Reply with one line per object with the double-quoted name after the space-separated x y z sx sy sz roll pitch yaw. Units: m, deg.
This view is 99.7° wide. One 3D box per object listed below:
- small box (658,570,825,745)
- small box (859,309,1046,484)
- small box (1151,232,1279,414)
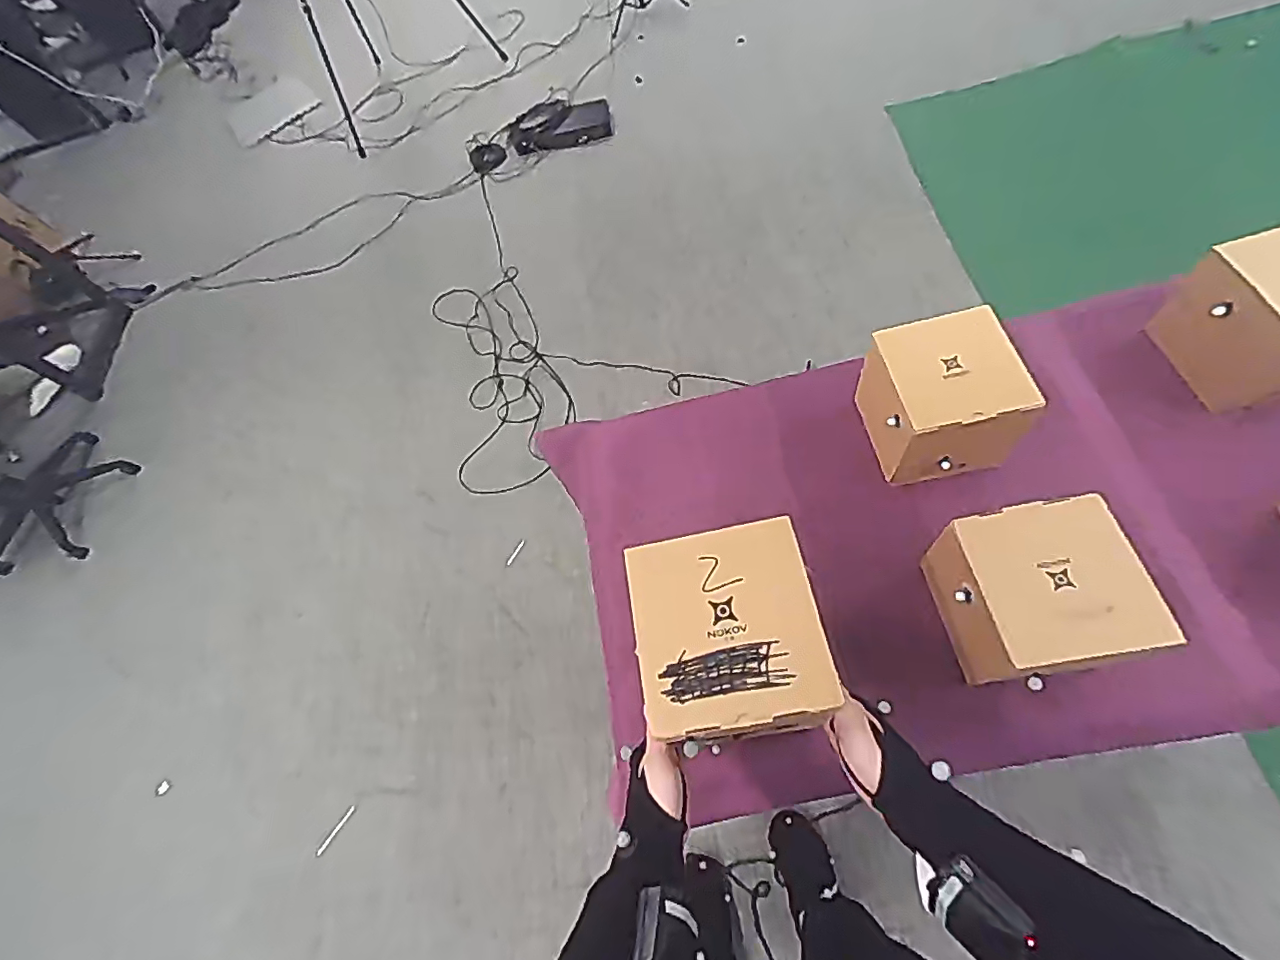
0.127 0.235 0.696 0.168 0.176 0.179 -12 61 6 "small box"
0.443 -0.117 0.806 0.168 0.176 0.179 -12 63 6 "small box"
0.883 -0.221 0.751 0.168 0.176 0.179 -14 62 9 "small box"
